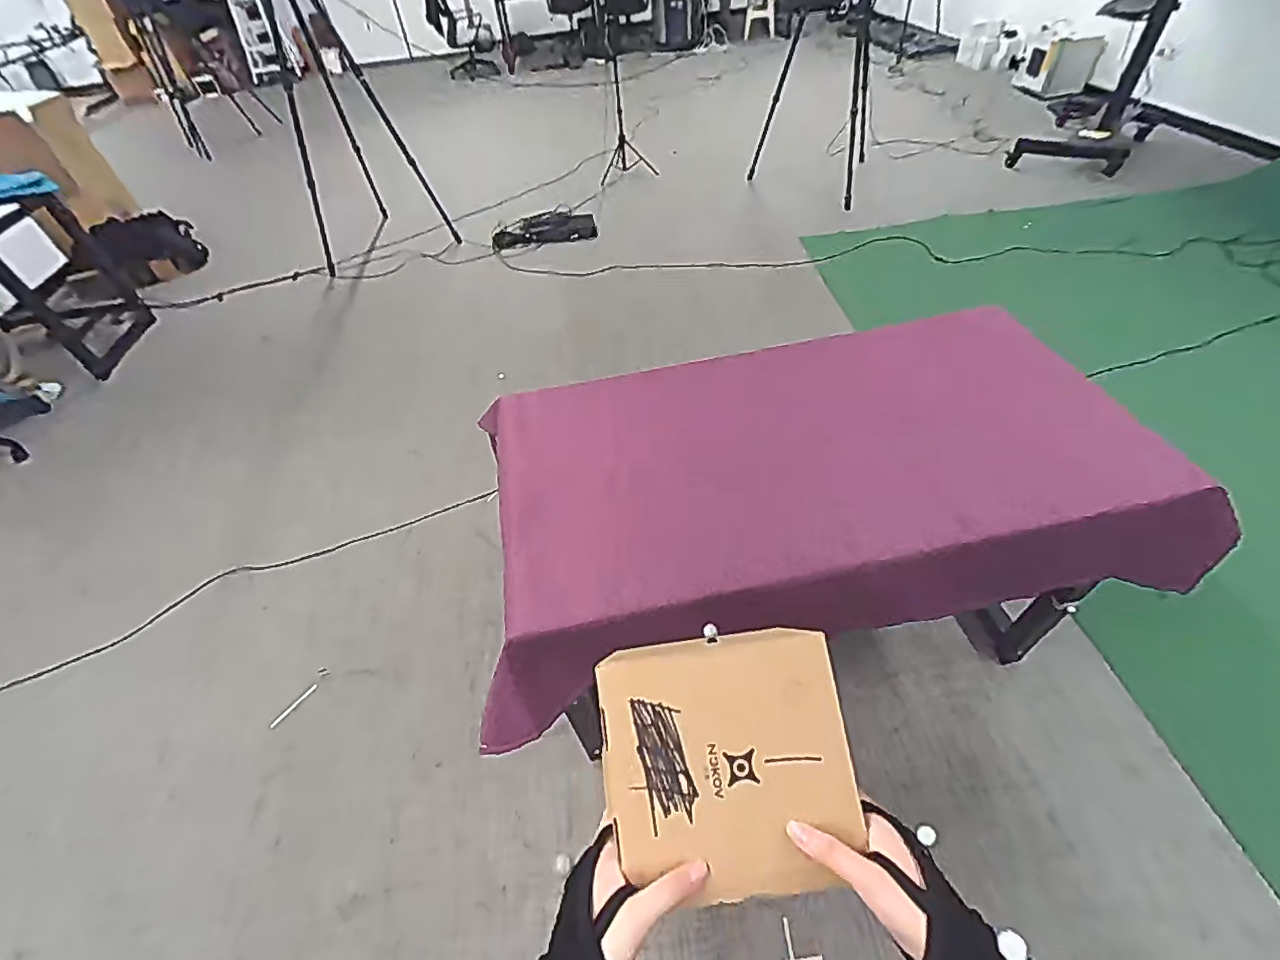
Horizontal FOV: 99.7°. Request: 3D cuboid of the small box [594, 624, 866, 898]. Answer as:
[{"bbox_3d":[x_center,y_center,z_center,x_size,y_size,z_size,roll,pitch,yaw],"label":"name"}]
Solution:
[{"bbox_3d":[0.065,0.221,0.470,0.179,0.176,0.168,-8,76,0],"label":"small box"}]
